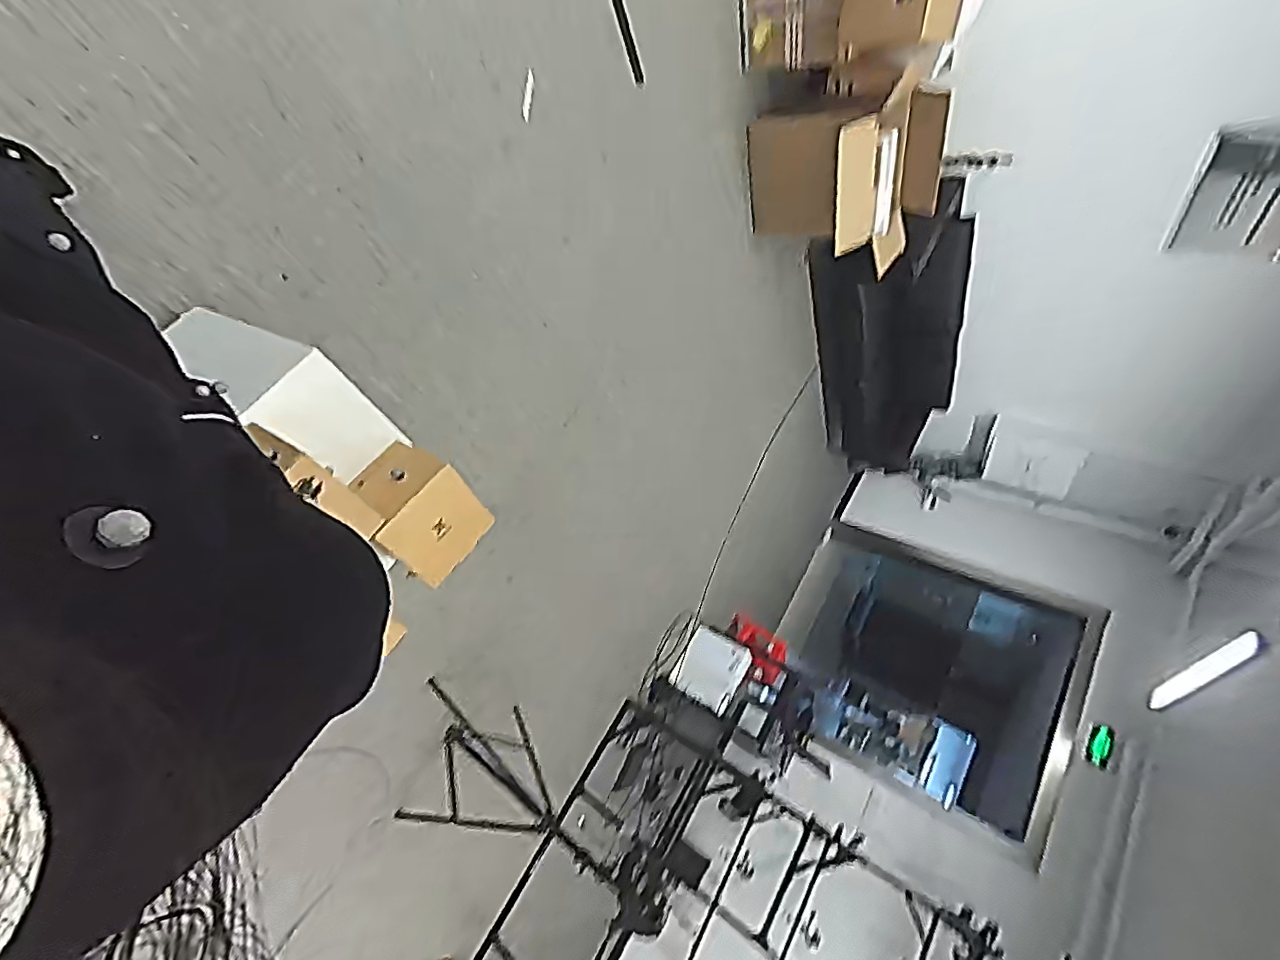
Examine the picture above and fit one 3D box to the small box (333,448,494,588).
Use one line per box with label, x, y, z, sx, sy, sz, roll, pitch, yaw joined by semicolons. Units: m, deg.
small box;-0.410;0.061;0.983;0.168;0.176;0.179;-52;143;-24
